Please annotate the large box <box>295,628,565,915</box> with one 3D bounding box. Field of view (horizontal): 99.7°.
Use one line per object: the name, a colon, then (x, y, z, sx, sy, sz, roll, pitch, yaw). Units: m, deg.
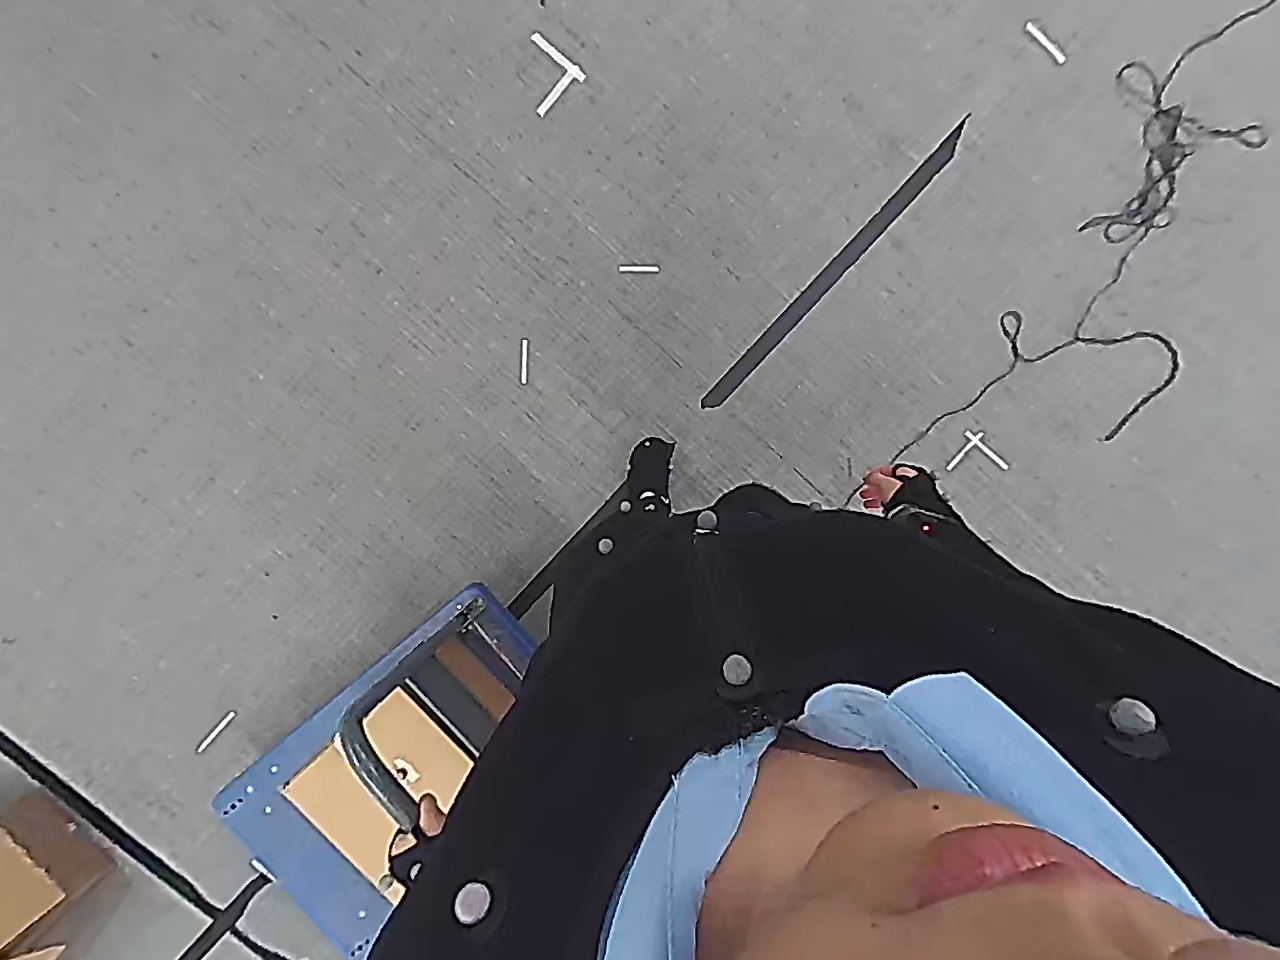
large box: (-0.430, 0.613, 1.205, 0.320, 0.320, 0.408, -43, 91, 1)
